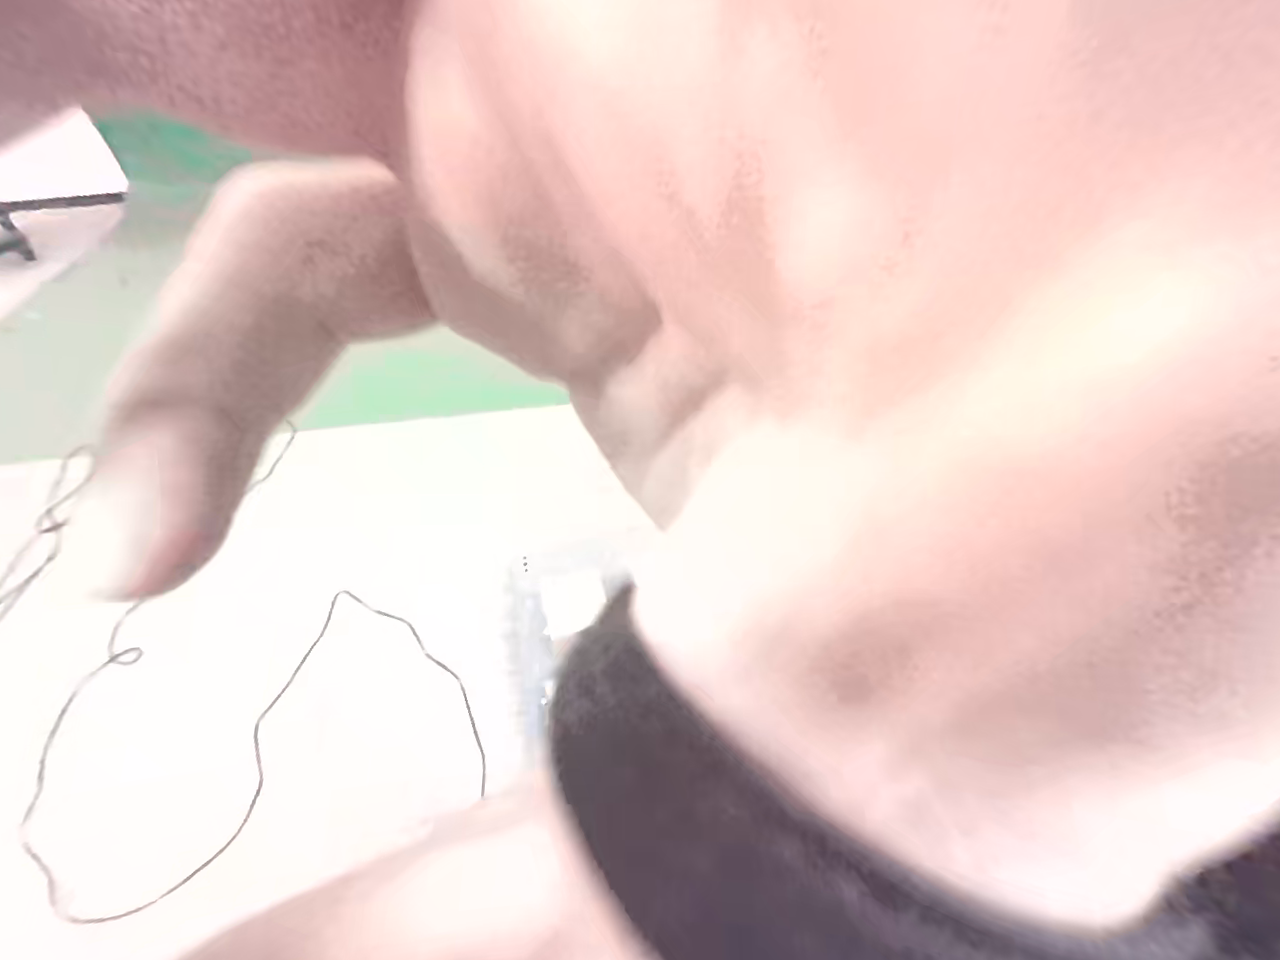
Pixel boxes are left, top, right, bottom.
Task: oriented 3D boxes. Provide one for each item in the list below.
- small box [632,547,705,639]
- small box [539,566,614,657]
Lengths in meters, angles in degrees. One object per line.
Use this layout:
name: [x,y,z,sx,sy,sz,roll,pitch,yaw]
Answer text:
small box: [0.075,0.323,1.537,0.168,0.176,0.179,-13,50,-9]
small box: [-0.173,0.373,1.500,0.168,0.176,0.179,-13,50,-11]
